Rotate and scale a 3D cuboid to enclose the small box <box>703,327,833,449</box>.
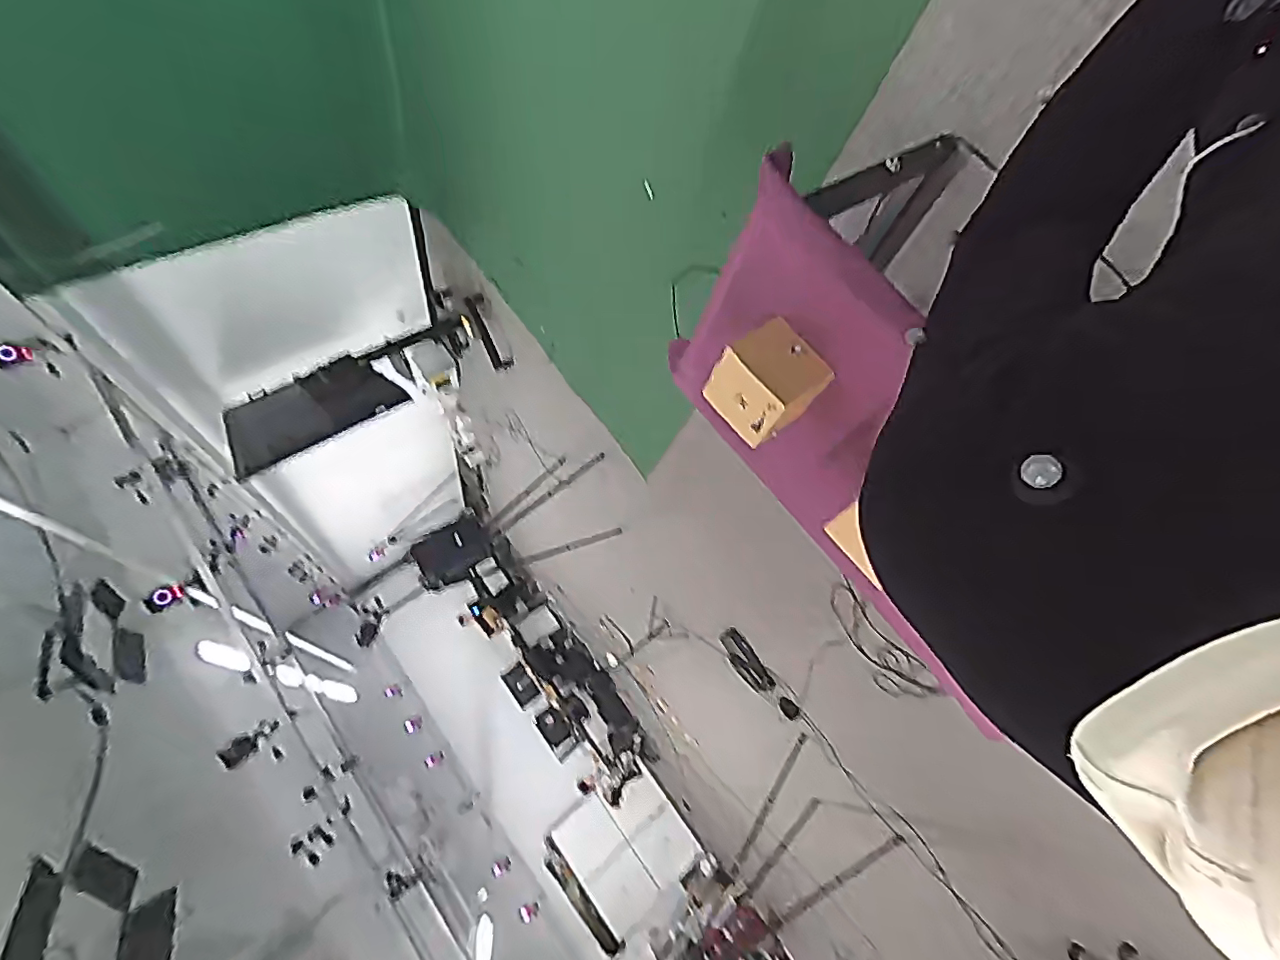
[{"bbox_3d":[0.274,-0.205,1.166,0.179,0.176,0.168,50,154,13],"label":"small box"}]

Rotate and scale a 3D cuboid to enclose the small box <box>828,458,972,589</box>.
[{"bbox_3d":[0.520,0.085,1.077,0.168,0.176,0.179,49,155,14],"label":"small box"}]
